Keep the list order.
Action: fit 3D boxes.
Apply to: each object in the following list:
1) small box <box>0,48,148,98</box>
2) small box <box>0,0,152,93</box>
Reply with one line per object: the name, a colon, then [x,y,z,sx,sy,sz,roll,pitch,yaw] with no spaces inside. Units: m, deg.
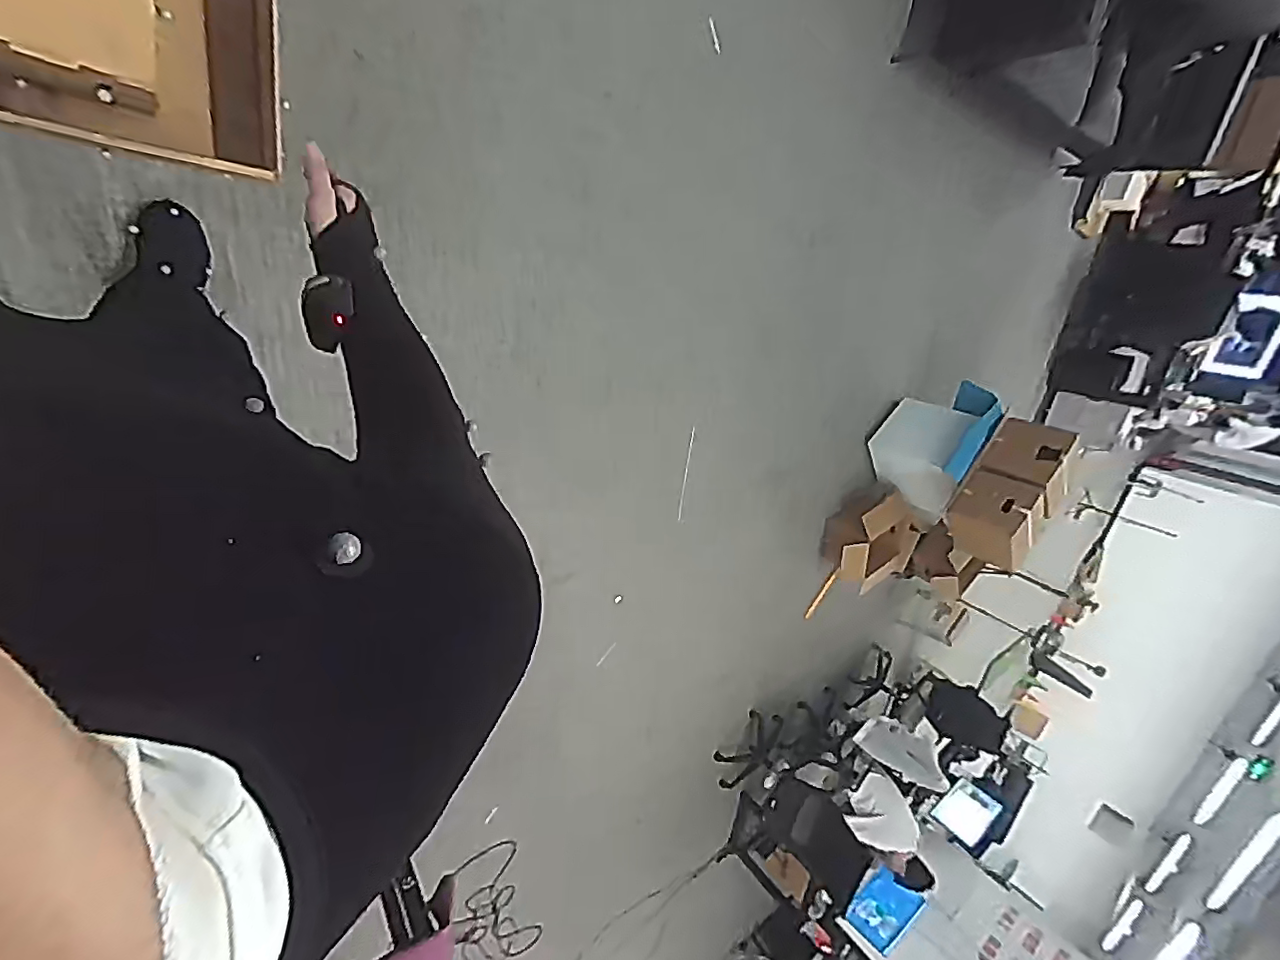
small box: [-0.706,-0.591,0.646,0.168,0.176,0.179,-4,114,-40]
small box: [-0.602,-0.522,0.540,0.168,0.176,0.179,-2,113,-41]
